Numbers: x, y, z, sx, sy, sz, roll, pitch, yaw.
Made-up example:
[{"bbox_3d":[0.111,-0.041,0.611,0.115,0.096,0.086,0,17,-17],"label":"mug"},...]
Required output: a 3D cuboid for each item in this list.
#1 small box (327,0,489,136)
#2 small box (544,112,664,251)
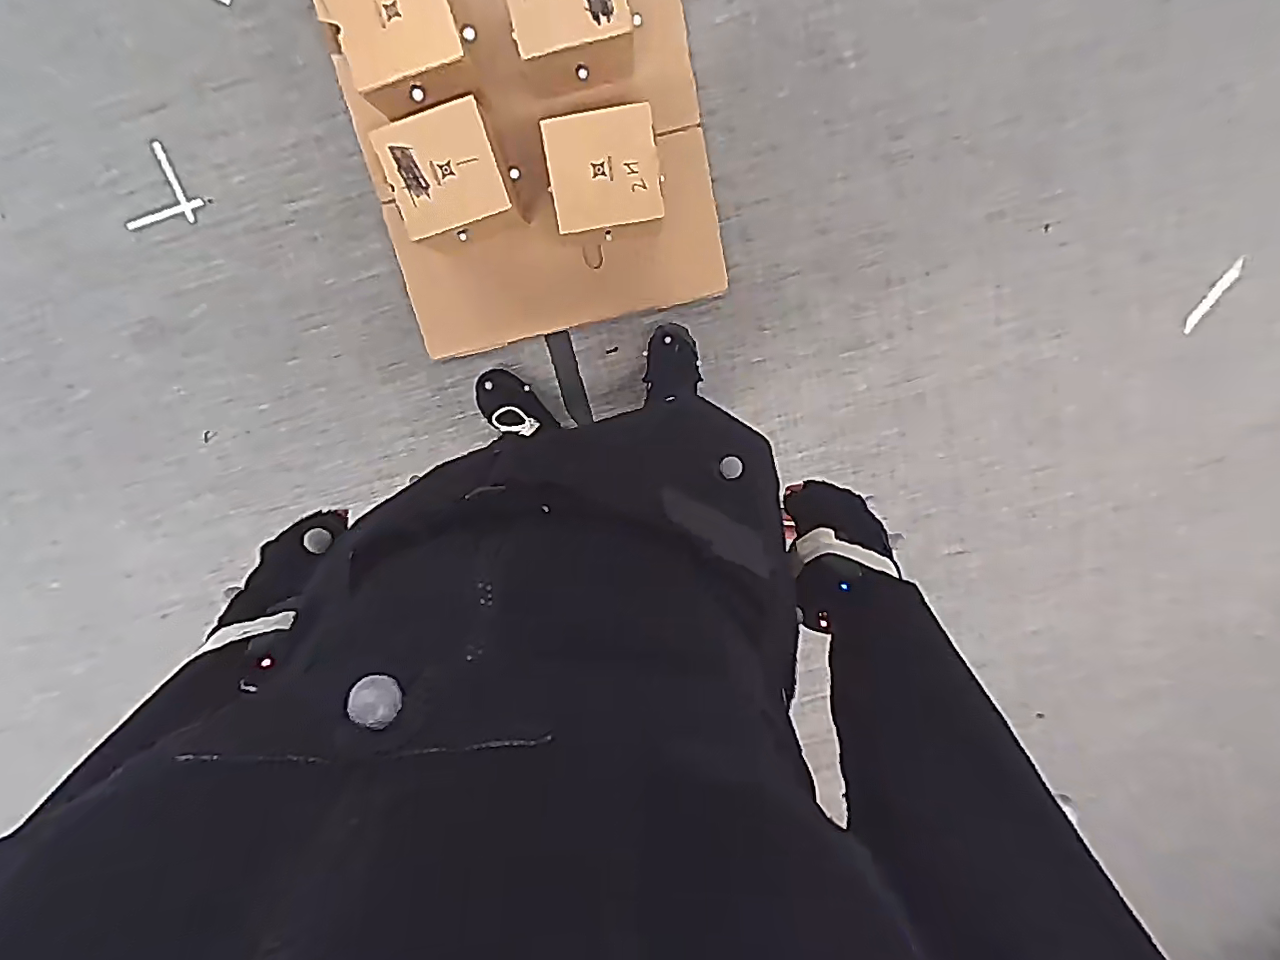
[{"bbox_3d":[-0.360,-0.696,0.877,0.179,0.176,0.168,-16,105,4],"label":"small box"},{"bbox_3d":[-0.056,-0.504,0.939,0.179,0.176,0.168,-8,106,1],"label":"small box"}]
